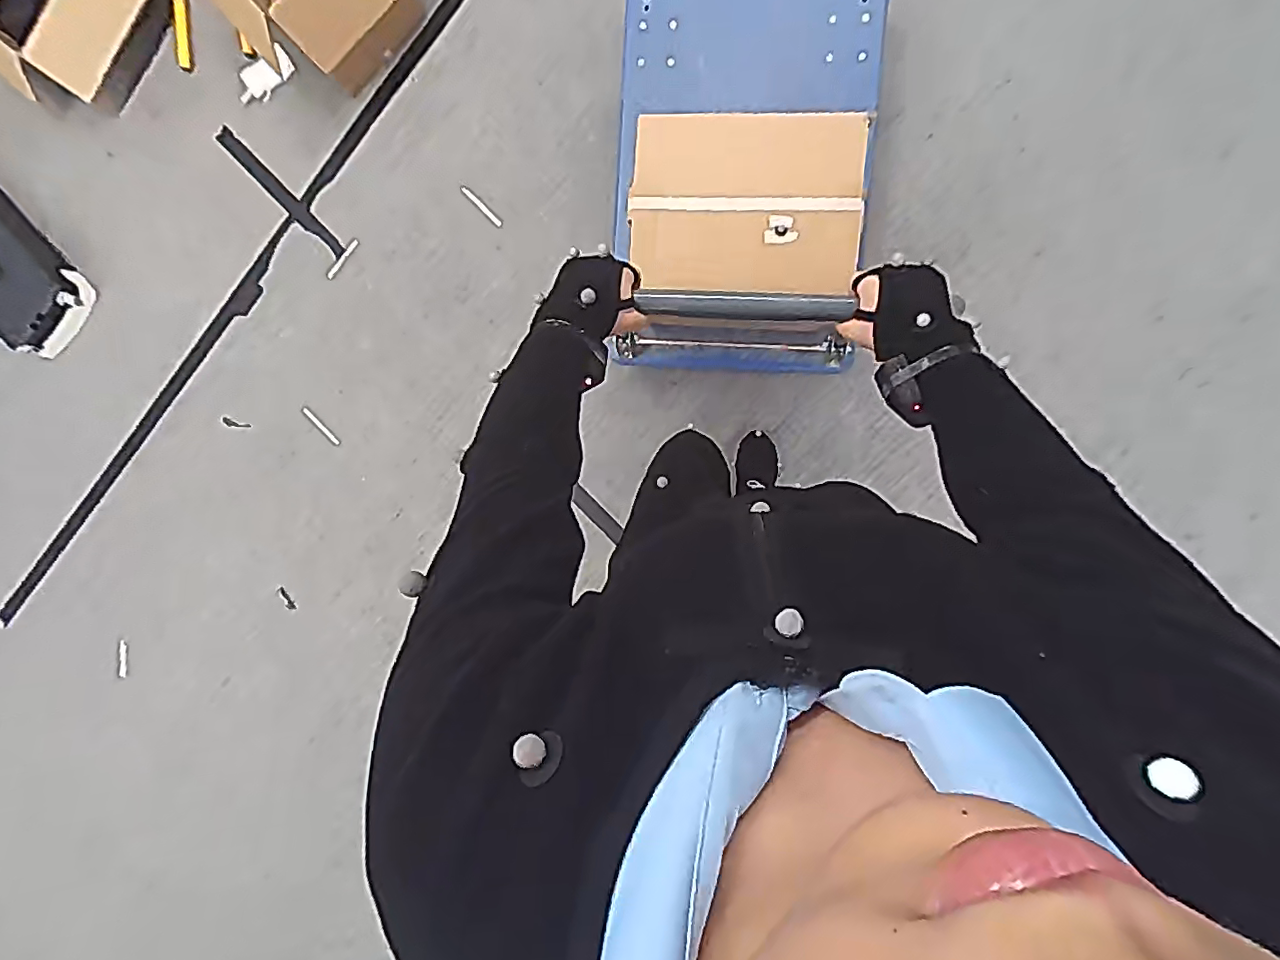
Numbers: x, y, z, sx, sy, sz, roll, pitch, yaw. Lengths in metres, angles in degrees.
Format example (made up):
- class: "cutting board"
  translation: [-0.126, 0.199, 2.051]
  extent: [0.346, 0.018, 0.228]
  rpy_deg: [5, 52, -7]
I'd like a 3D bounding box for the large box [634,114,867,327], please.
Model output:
- class: "large box"
  translation: [0.204, -0.503, 1.113]
  extent: [0.408, 0.320, 0.320]
  rpy_deg: [4, 96, 6]
